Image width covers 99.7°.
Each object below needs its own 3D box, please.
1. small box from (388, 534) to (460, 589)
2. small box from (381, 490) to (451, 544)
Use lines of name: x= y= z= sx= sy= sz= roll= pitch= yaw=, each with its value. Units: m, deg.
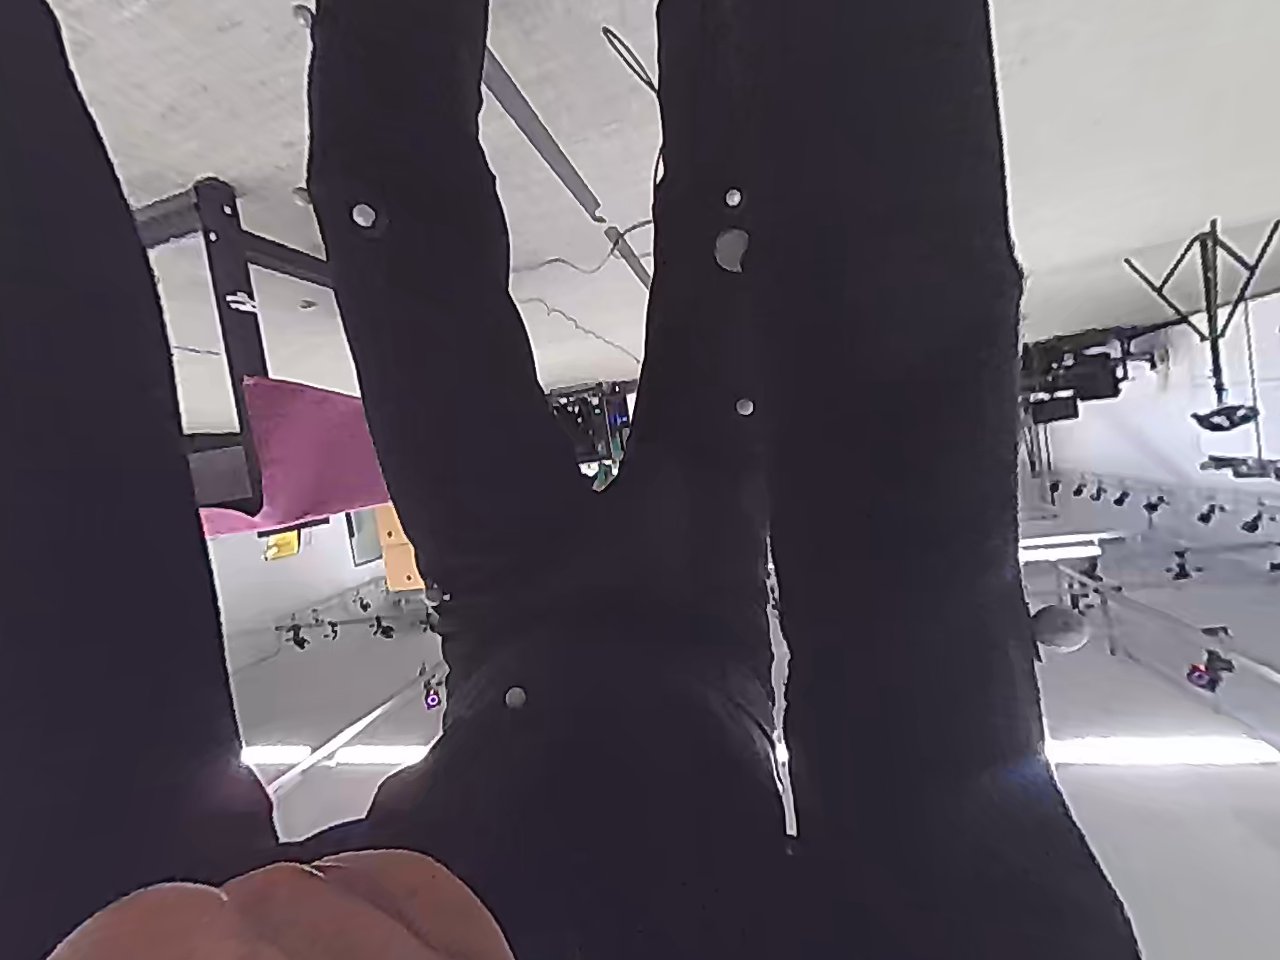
small box: x=-0.800 y=0.294 z=1.998 sx=0.179 sy=0.176 sz=0.168 roll=-7 pitch=-177 yaw=19
small box: x=-0.825 y=0.132 z=1.987 sx=0.179 sy=0.176 sz=0.168 roll=-8 pitch=-176 yaw=15
